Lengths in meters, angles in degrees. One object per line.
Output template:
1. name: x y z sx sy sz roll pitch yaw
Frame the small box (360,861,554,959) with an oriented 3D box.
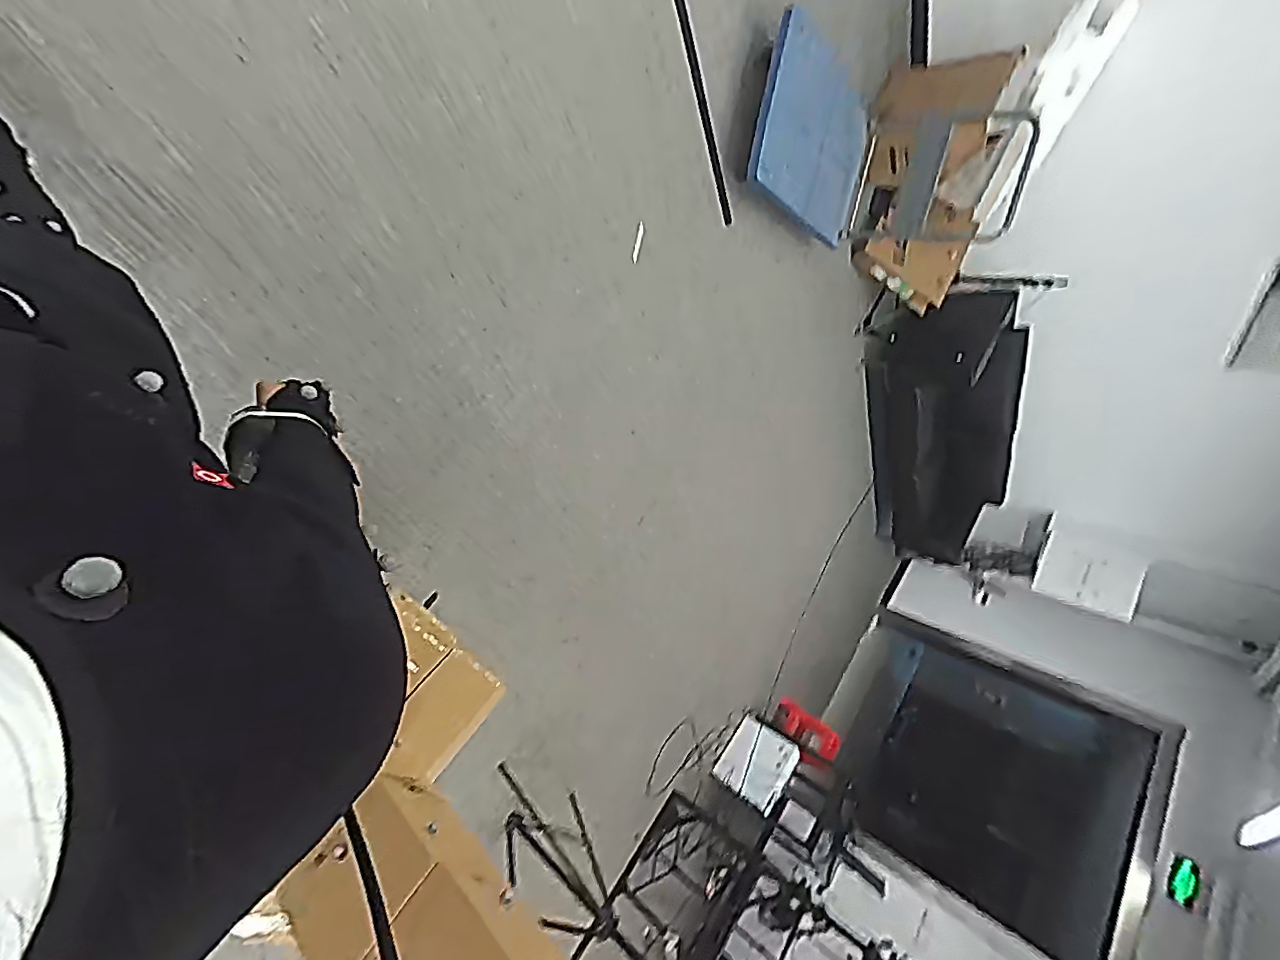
1. small box: -0.207 0.580 0.602 0.179 0.176 0.168 -49 137 -24

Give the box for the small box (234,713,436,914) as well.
1. small box: -0.450 0.485 0.803 0.179 0.176 0.168 -48 137 -24
